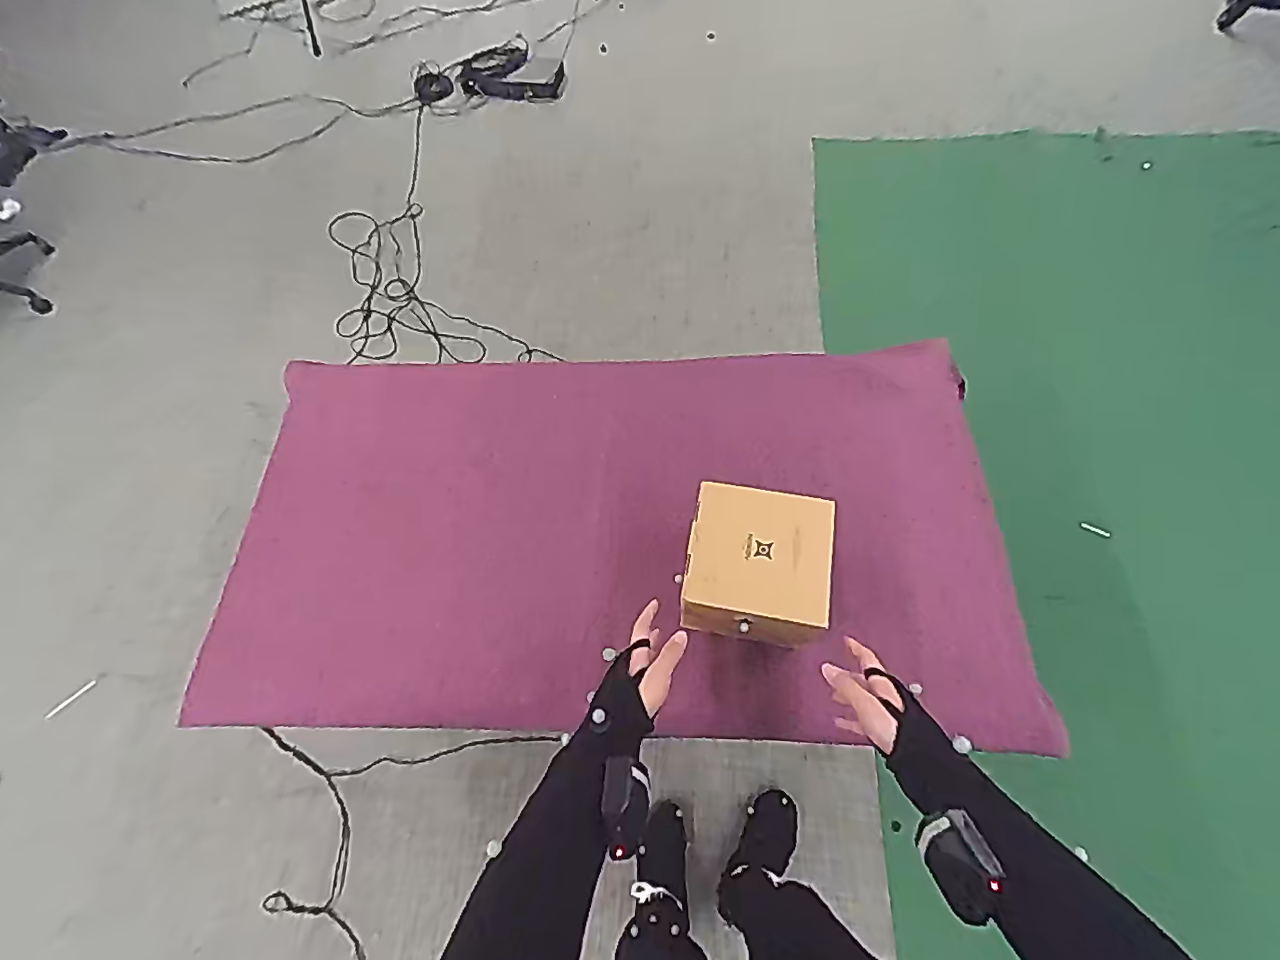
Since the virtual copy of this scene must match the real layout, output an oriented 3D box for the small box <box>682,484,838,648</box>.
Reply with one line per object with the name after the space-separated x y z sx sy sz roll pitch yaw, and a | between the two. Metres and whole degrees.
0.157 0.124 0.740 0.179 0.176 0.168 10 66 9 | small box
